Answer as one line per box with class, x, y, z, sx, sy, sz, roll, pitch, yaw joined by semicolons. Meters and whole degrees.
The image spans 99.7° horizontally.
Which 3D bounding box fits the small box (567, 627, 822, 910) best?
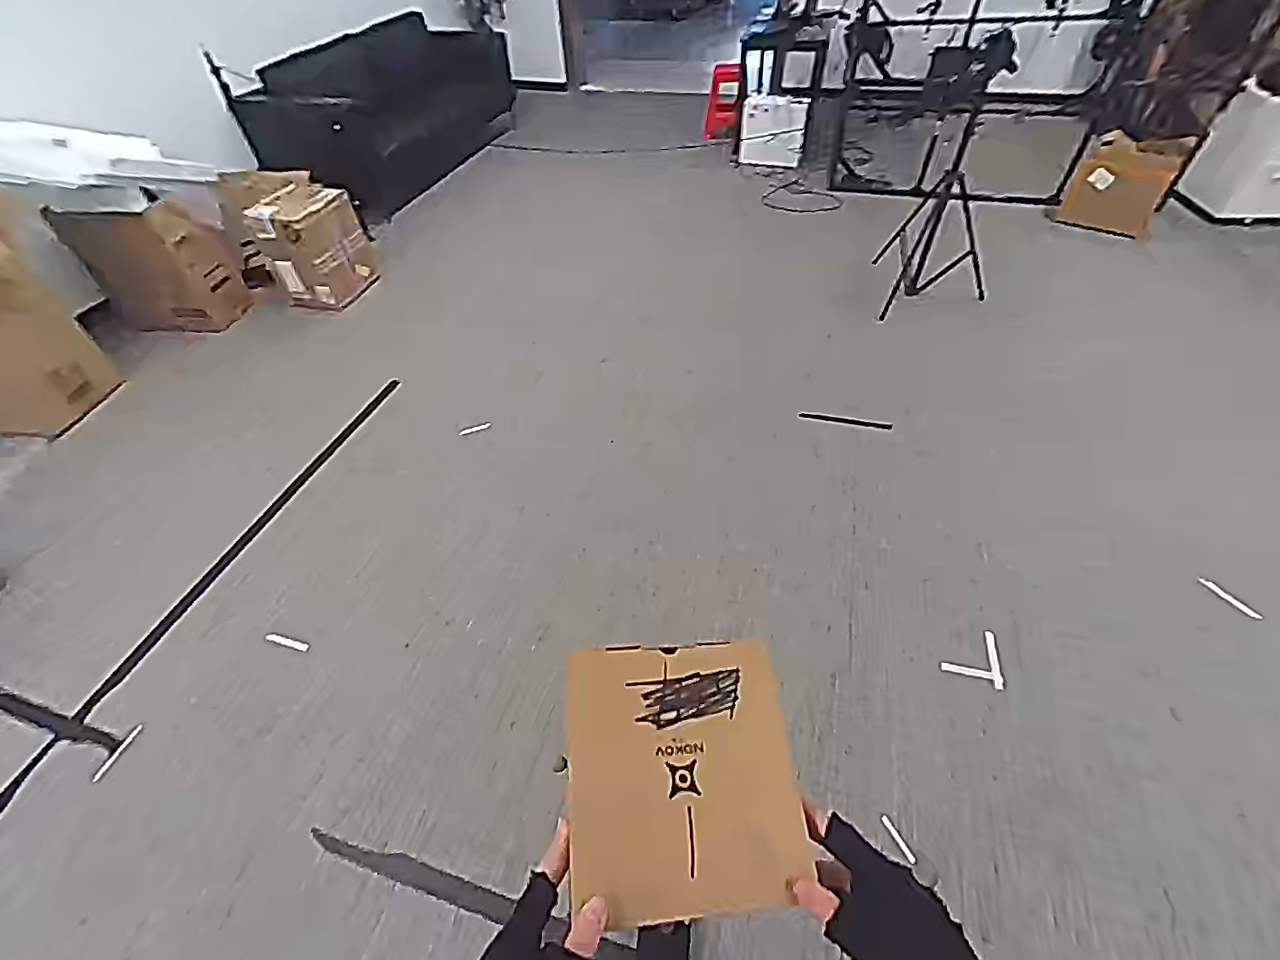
small box;0.023;0.237;0.453;0.168;0.176;0.179;0;56;-8
